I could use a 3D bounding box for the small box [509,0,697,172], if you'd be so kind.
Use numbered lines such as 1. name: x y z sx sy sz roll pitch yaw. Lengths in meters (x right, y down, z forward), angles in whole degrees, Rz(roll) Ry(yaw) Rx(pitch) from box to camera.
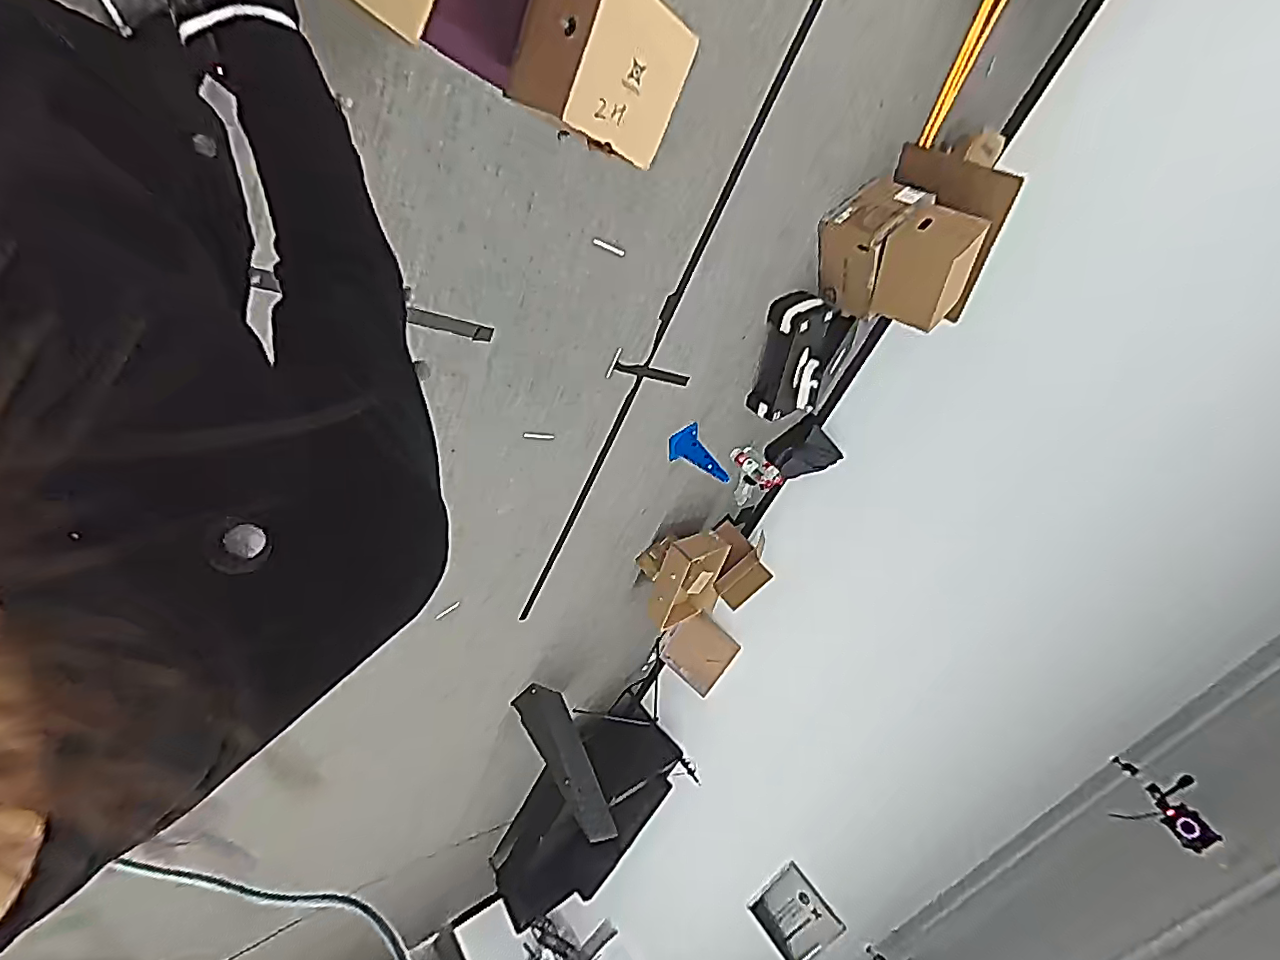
1. small box: -0.059 -0.574 0.756 0.168 0.176 0.179 0 126 -47

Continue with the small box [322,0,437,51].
1. small box: -0.285 -0.566 0.512 0.168 0.176 0.179 8 121 -51
